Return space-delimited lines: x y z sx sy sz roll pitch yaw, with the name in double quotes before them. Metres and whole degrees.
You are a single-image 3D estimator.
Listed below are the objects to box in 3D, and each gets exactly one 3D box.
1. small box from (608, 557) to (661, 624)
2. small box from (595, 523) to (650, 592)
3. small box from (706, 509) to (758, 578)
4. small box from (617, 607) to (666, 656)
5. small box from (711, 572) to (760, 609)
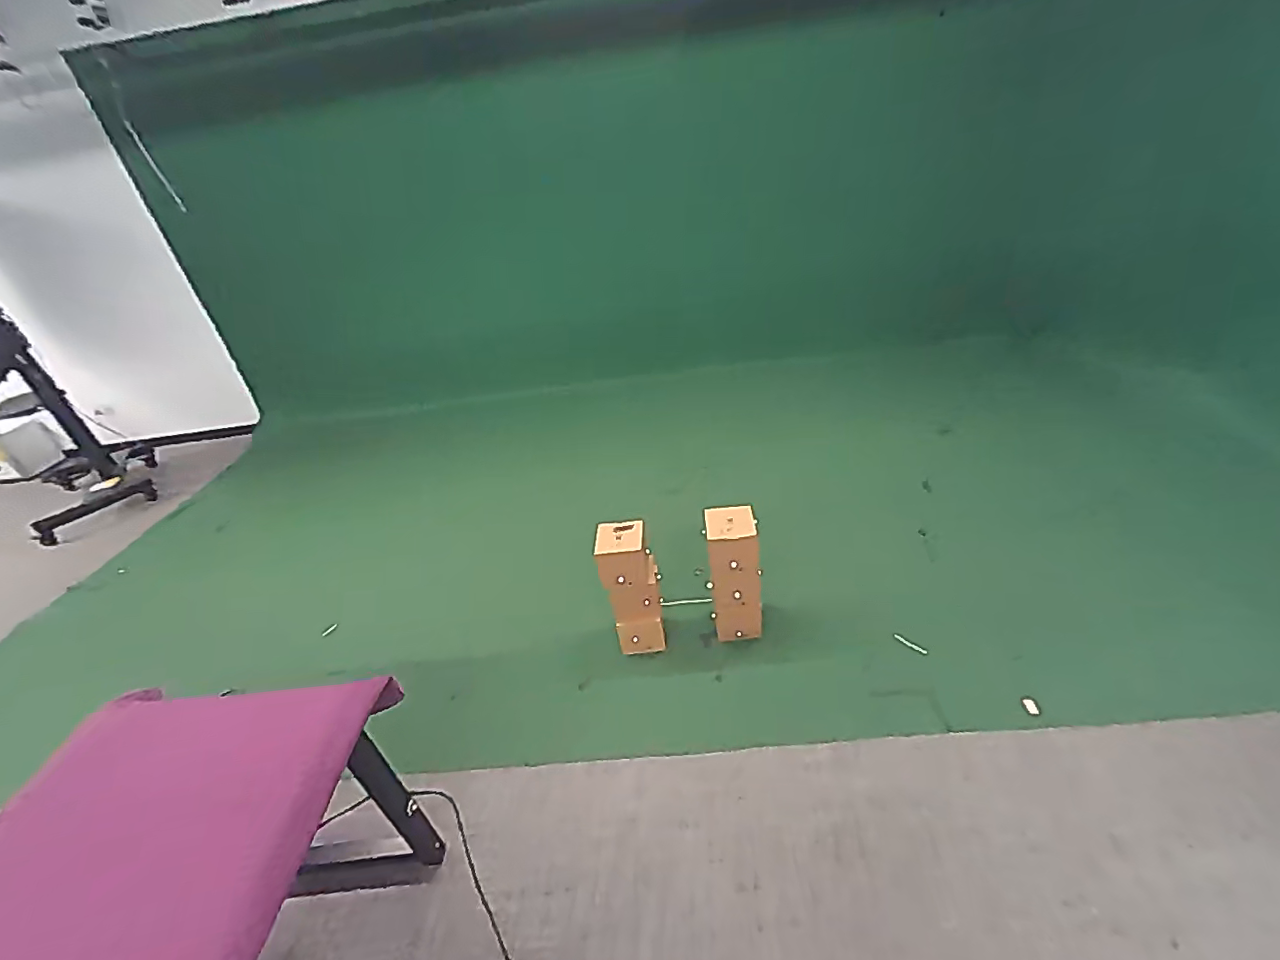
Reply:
"small box" -0.019 0.413 2.007 0.179 0.176 0.168 -9 31 2
"small box" -0.059 0.276 1.924 0.168 0.176 0.179 -6 31 6
"small box" 0.321 0.222 1.902 0.168 0.176 0.179 -6 33 6
"small box" 0.005 0.557 2.078 0.168 0.176 0.179 -8 31 2
"small box" 0.347 0.360 1.988 0.168 0.176 0.179 -5 34 4
